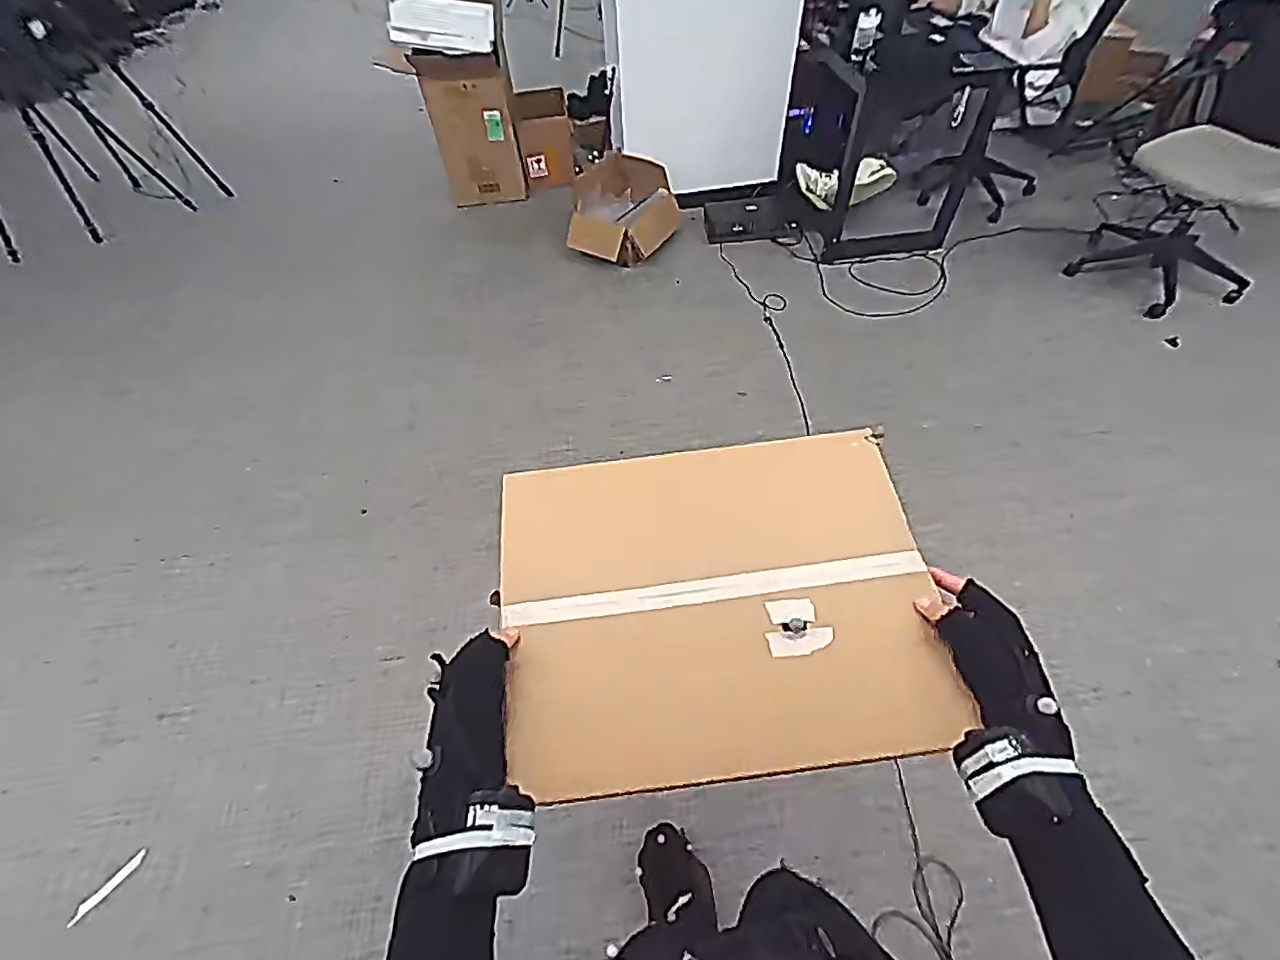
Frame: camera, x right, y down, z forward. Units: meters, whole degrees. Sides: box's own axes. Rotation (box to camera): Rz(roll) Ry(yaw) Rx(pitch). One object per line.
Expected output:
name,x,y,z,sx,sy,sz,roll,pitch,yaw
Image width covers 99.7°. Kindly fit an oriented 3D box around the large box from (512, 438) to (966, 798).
large box,0.077,0.182,0.667,0.408,0.320,0.320,-7,62,-1
